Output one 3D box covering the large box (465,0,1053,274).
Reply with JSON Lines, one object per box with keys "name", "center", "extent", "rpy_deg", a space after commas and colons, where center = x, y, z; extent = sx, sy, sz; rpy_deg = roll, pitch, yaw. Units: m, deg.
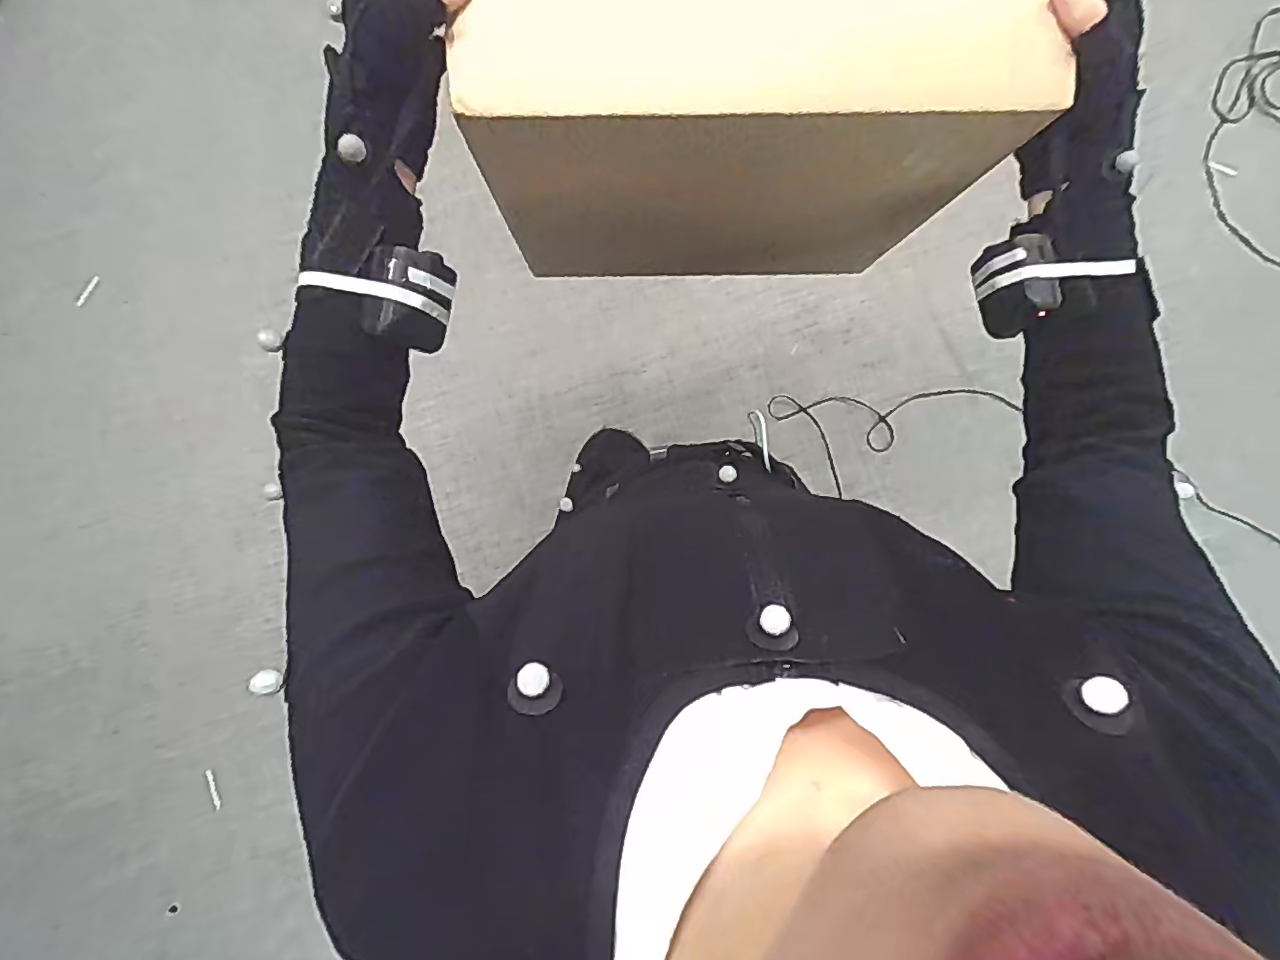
{"name": "large box", "center": [0.070, -0.404, 0.506], "extent": [0.408, 0.320, 0.320], "rpy_deg": [-2, 93, -3]}
